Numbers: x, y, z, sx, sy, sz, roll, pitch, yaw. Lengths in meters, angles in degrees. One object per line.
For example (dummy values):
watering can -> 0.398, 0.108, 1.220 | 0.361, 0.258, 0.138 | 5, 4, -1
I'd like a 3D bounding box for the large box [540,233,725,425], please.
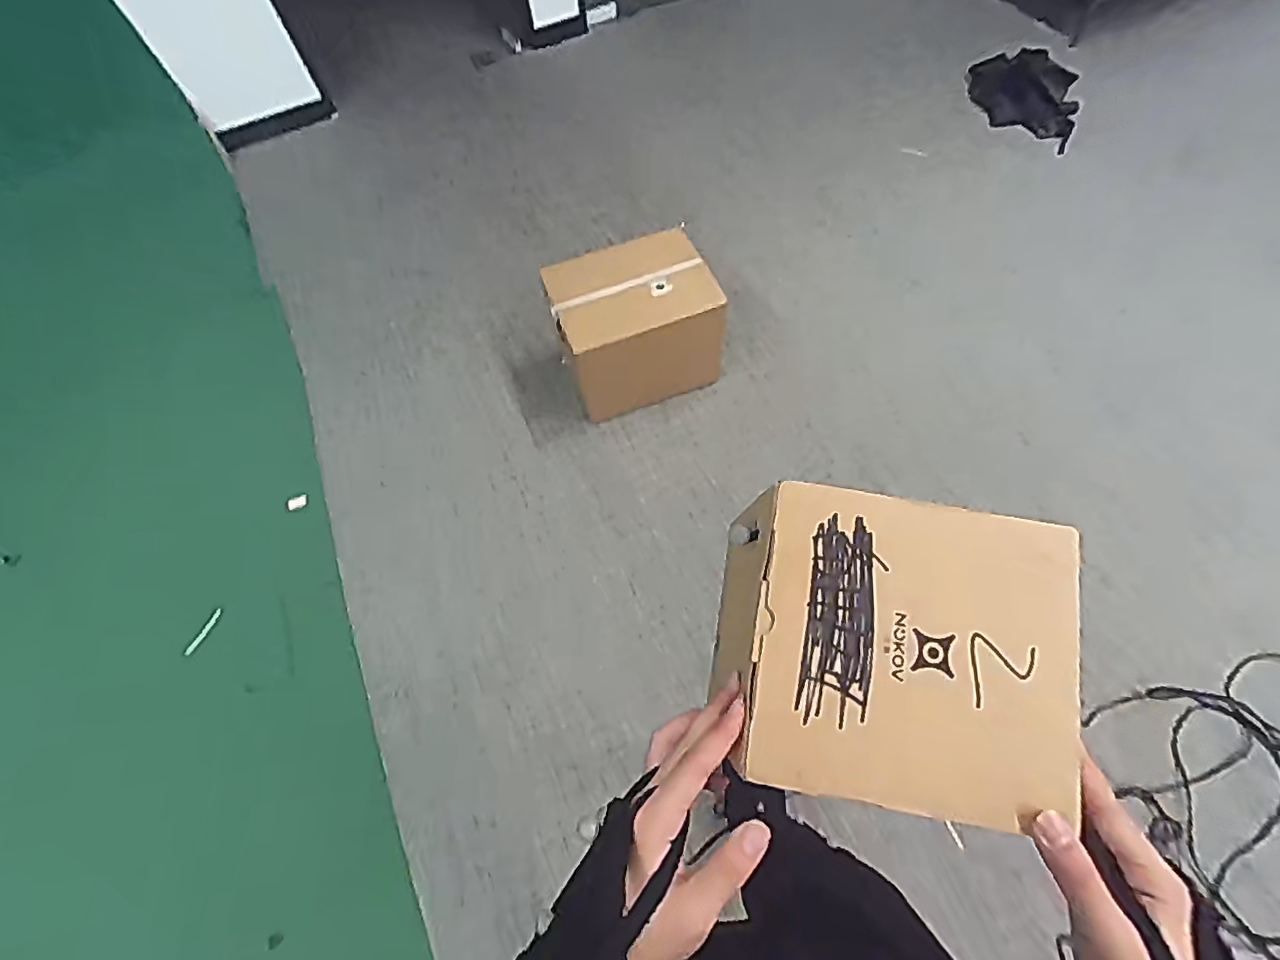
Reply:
large box -> -0.020, -0.411, 1.502 | 0.408, 0.320, 0.320 | -20, 63, -8
